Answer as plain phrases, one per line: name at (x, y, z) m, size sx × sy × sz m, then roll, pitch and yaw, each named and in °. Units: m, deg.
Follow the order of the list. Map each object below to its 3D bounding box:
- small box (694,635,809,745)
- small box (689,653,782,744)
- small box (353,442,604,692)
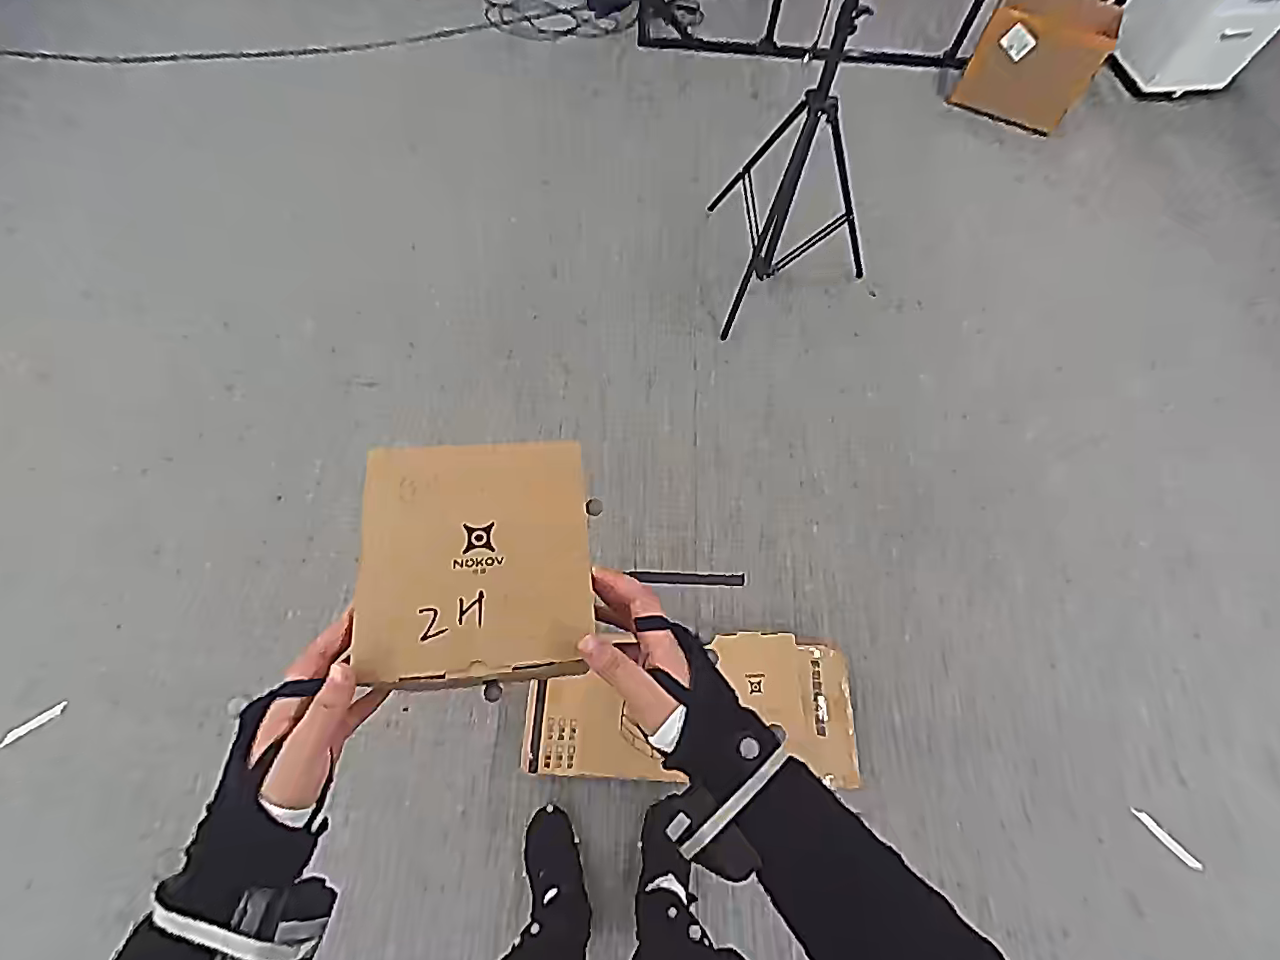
small box at (0.196, 0.394, 1.008) m, size 0.168 × 0.176 × 0.179 m, roll -2°, pitch 65°, yaw -3°
small box at (0.197, 0.464, 1.156) m, size 0.168 × 0.176 × 0.179 m, roll 1°, pitch 65°, yaw -3°
small box at (-0.125, 0.081, 0.465) m, size 0.168 × 0.176 × 0.179 m, roll -2°, pitch 69°, yaw -10°
